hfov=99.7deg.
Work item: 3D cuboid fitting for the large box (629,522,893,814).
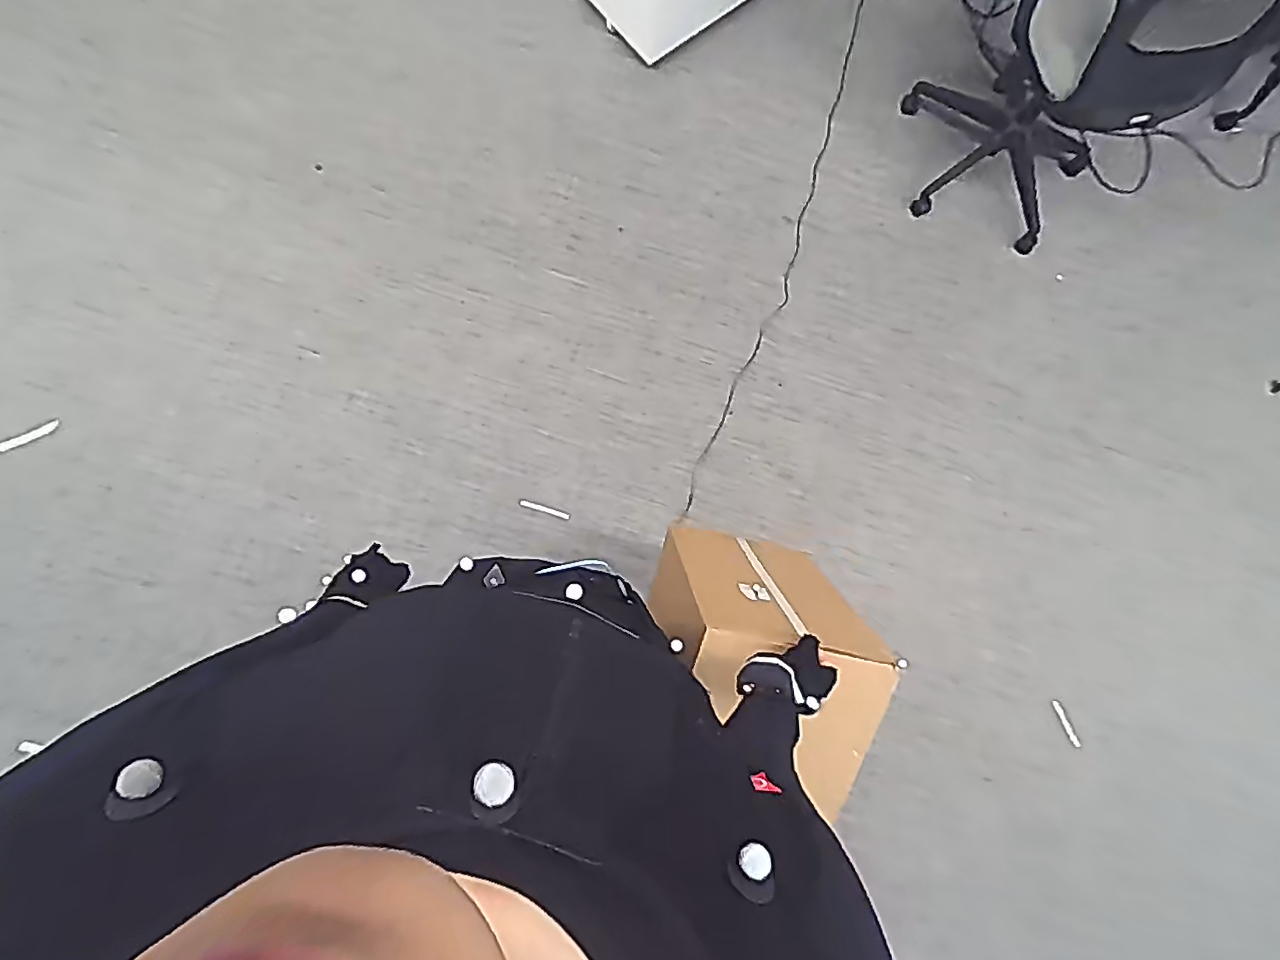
[{"bbox_3d":[0.177,0.320,1.012,0.320,0.408,0.320,13,106,-9],"label":"large box"}]
